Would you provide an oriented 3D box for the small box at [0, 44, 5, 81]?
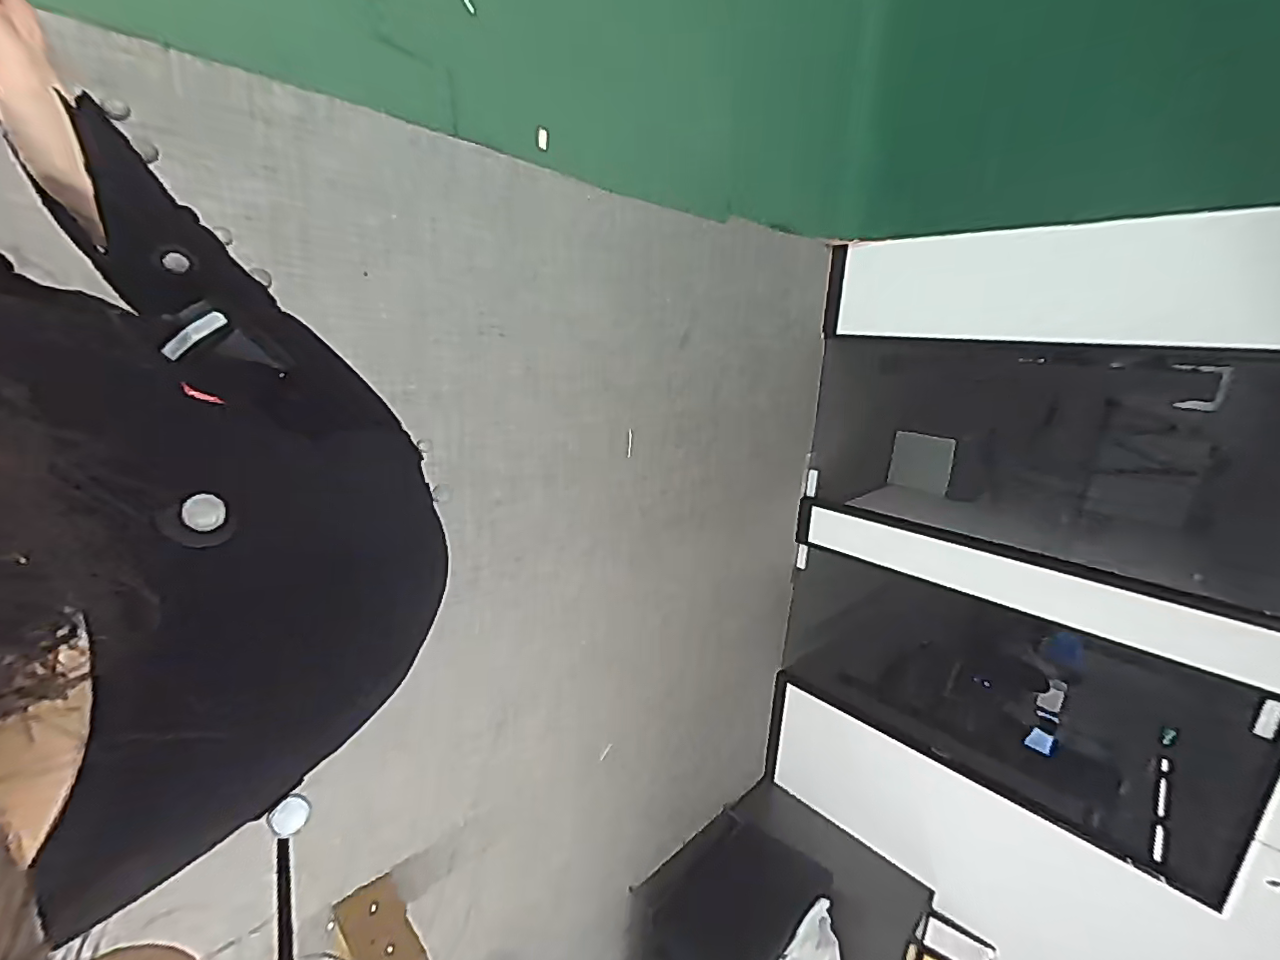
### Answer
[{"bbox_3d":[-0.439,-0.303,0.246,0.168,0.176,0.179,-13,124,-42],"label":"small box"}]

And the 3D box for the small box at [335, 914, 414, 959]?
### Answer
[{"bbox_3d":[-0.772,1.422,1.571,0.168,0.176,0.179,-9,110,-44],"label":"small box"}]

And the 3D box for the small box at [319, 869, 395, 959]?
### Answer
[{"bbox_3d":[-0.884,1.380,1.684,0.179,0.176,0.168,-10,111,-45],"label":"small box"}]
